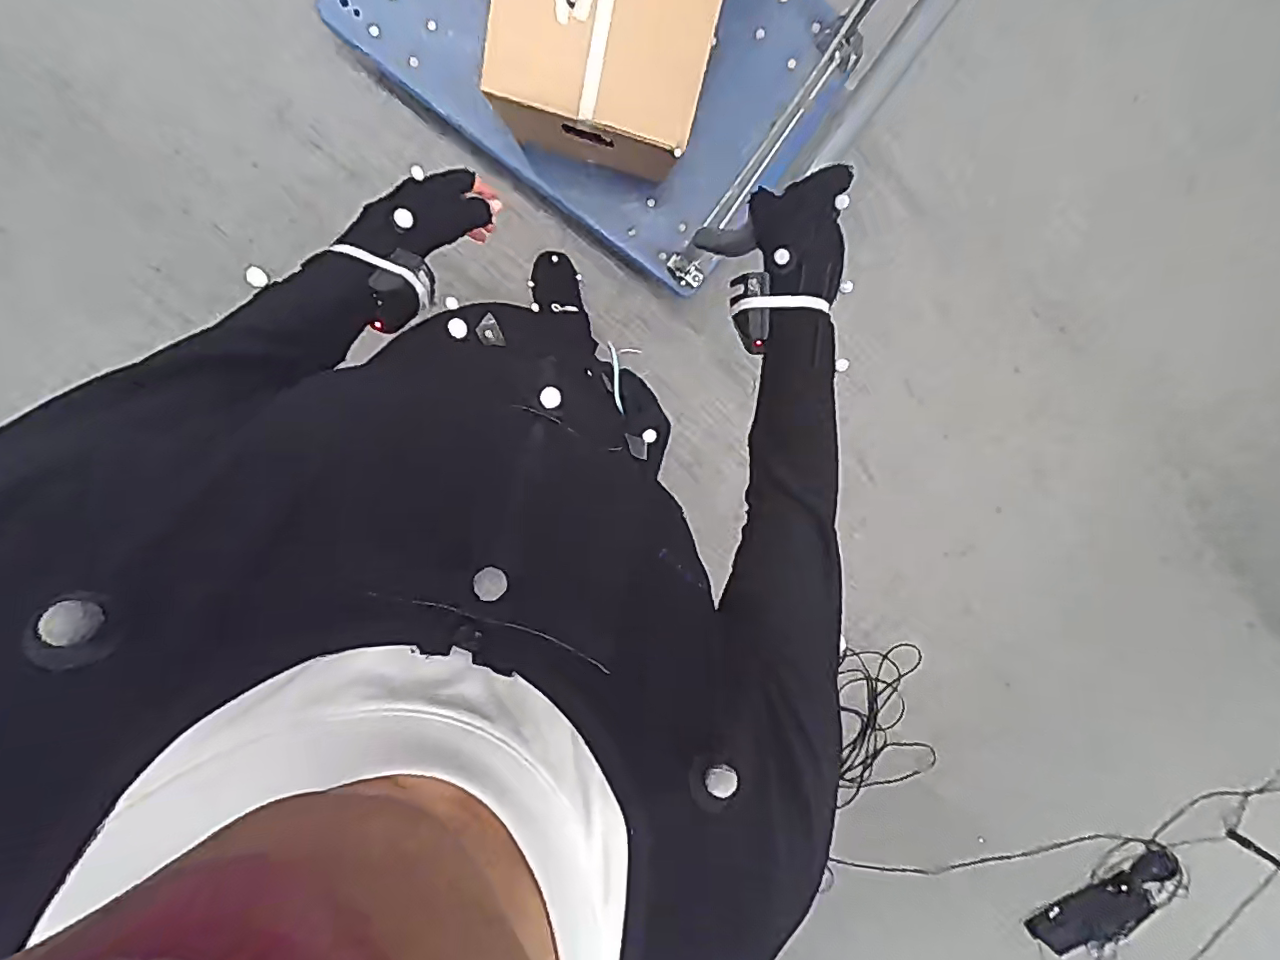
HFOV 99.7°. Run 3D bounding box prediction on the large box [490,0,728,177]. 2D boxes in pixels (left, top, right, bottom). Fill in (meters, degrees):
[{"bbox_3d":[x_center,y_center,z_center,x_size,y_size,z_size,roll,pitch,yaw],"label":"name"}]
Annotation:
[{"bbox_3d":[-0.033,-0.770,0.872,0.320,0.320,0.408,13,111,-7],"label":"large box"}]
